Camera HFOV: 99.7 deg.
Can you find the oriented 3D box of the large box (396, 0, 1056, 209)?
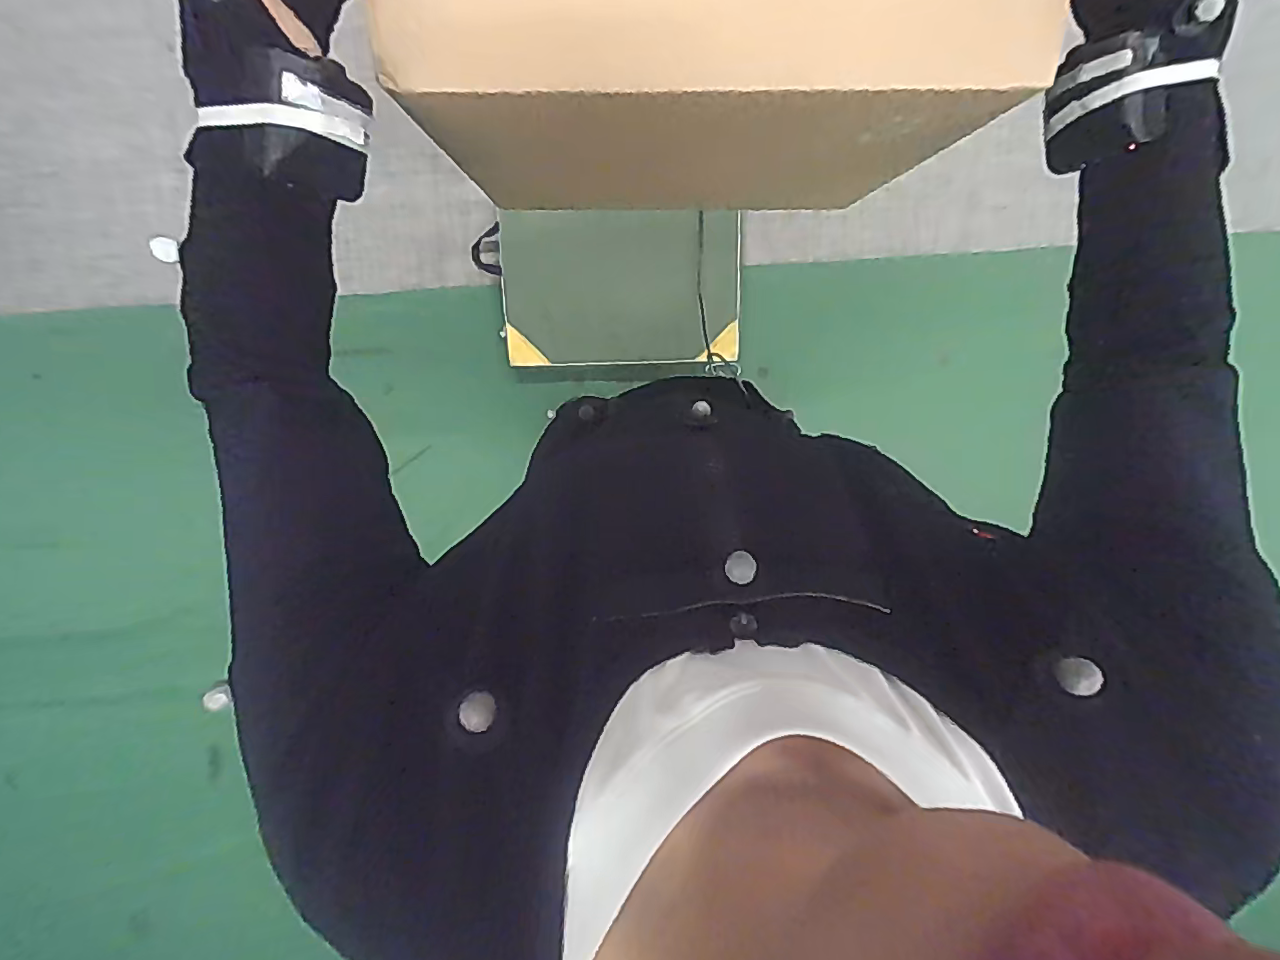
[{"bbox_3d":[0.044,-0.428,0.438,0.408,0.320,0.320,-2,105,-2],"label":"large box"}]
